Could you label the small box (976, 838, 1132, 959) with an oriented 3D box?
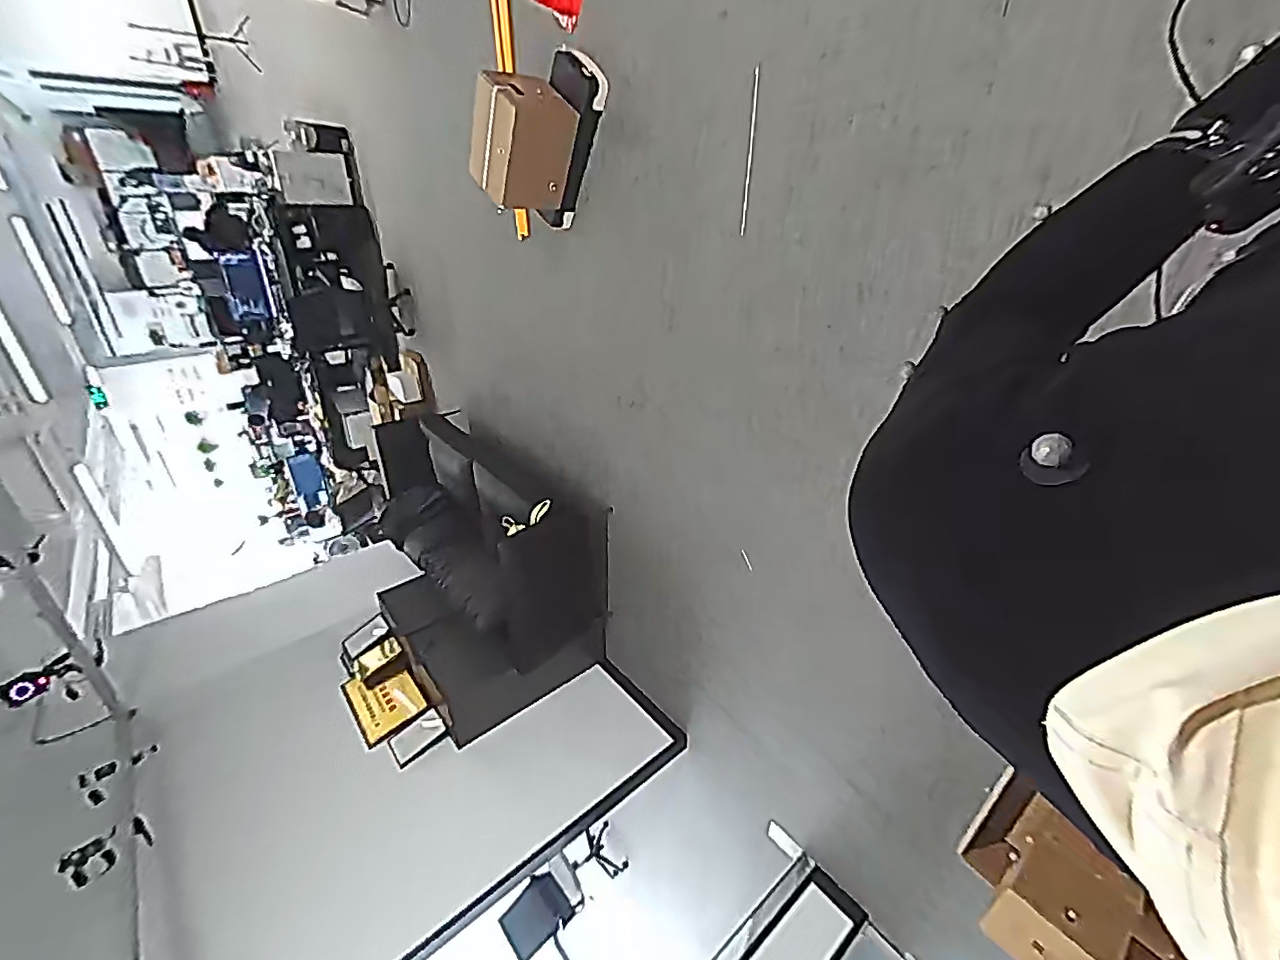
[{"bbox_3d":[0.814,0.865,1.064,0.179,0.176,0.168,34,131,40],"label":"small box"}]
